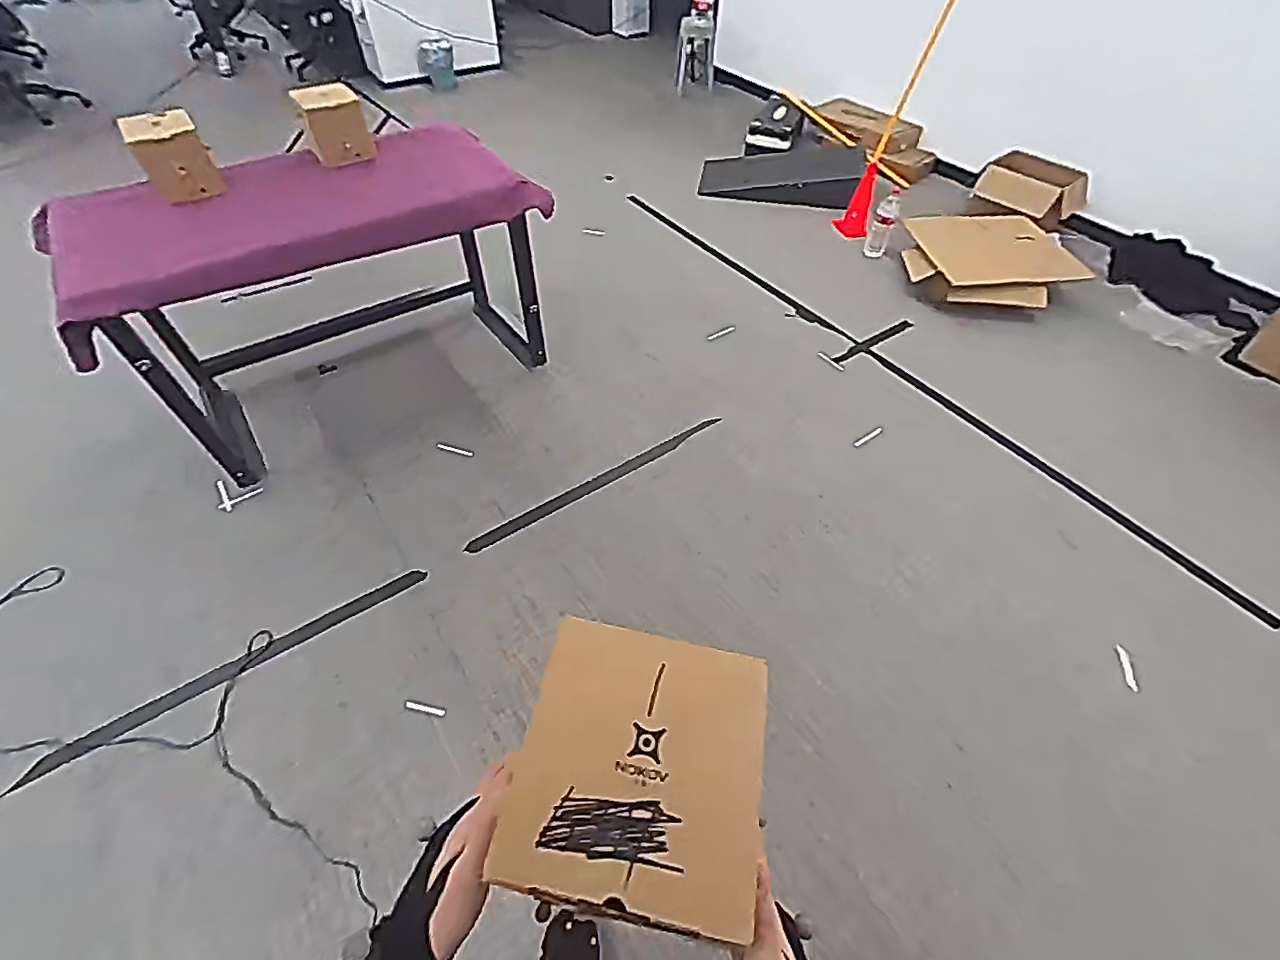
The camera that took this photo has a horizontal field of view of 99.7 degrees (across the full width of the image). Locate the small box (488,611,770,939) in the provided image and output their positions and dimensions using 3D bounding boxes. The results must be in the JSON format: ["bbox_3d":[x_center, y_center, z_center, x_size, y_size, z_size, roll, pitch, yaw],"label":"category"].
[{"bbox_3d":[0.000,0.236,0.434,0.168,0.176,0.179,12,50,5],"label":"small box"}]

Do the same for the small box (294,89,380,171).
[{"bbox_3d":[-0.970,-1.122,1.737,0.168,0.176,0.179,-29,59,-22],"label":"small box"}]

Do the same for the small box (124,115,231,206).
[{"bbox_3d":[-1.325,-0.914,1.560,0.168,0.176,0.179,-29,60,-23],"label":"small box"}]
